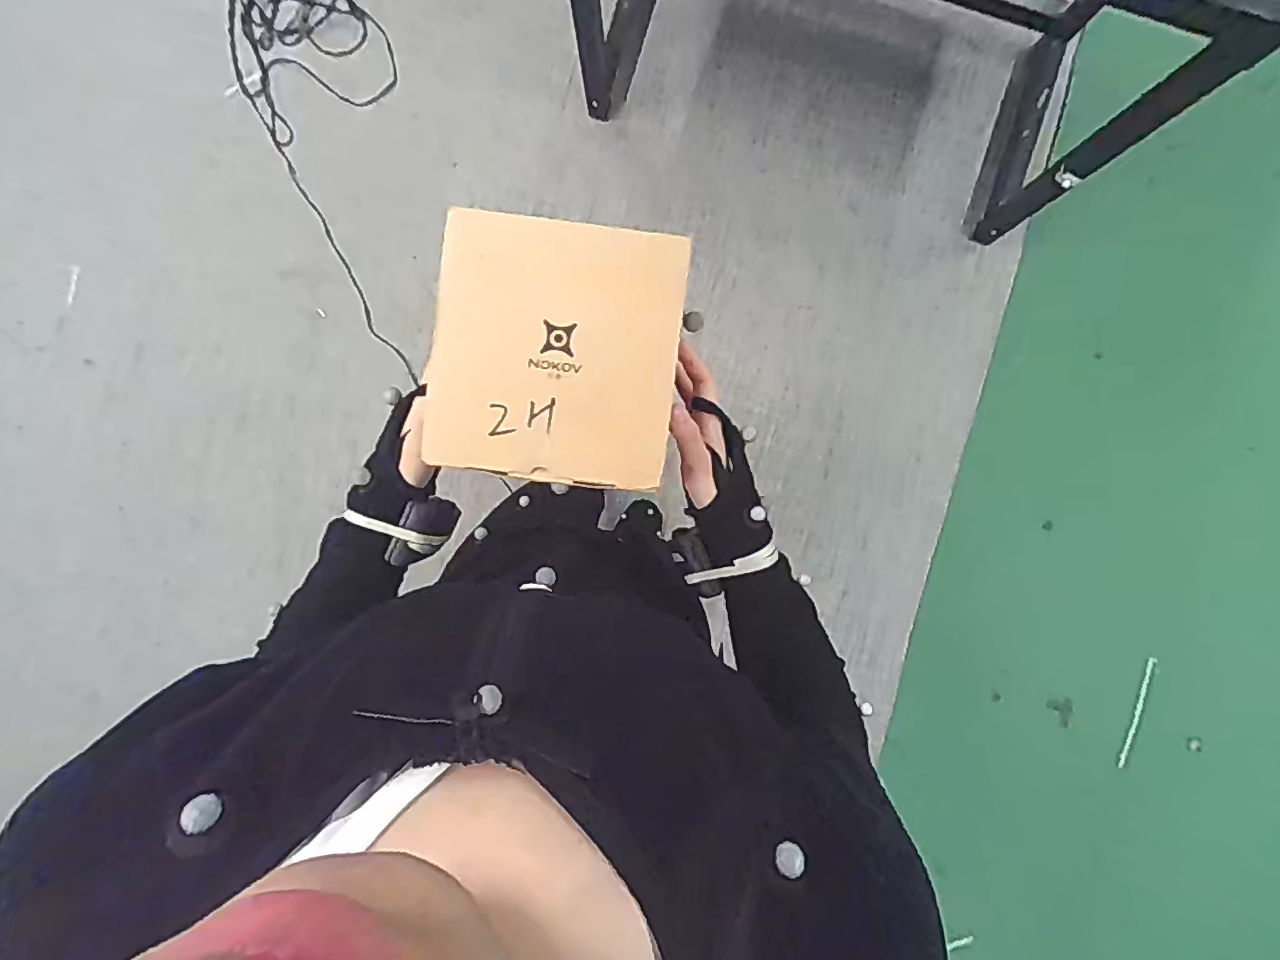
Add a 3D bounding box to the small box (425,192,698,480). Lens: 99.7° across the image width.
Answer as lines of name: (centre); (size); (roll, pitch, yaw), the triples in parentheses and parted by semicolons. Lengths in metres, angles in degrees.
small box: (-0.053, -0.097, 0.439); (0.168, 0.176, 0.179); (7, 92, 0)
